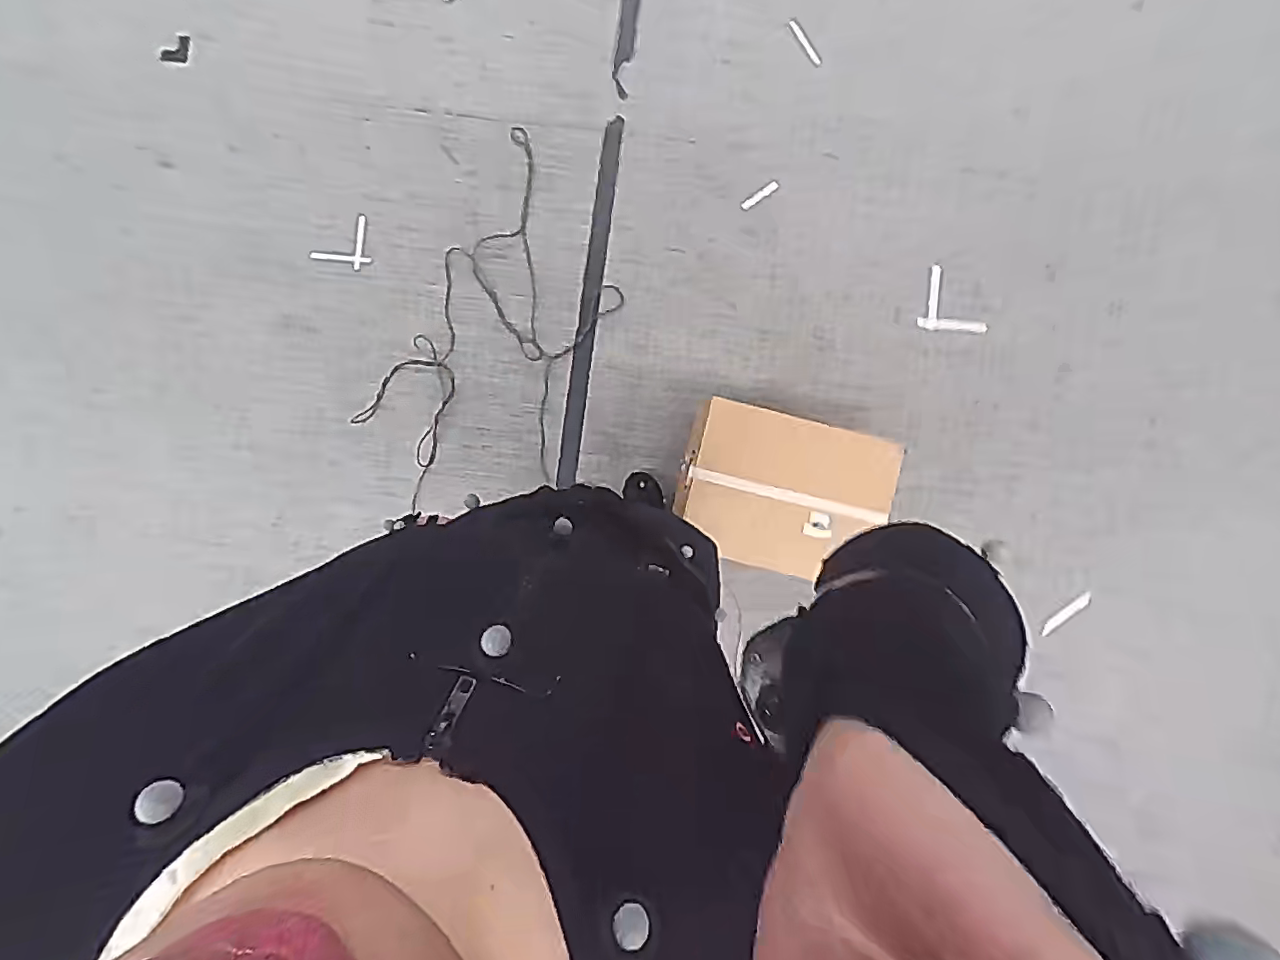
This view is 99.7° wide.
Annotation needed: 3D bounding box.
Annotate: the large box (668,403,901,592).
[{"bbox_3d":[0.297,0.035,1.237,0.408,0.320,0.320,14,91,-1],"label":"large box"}]
